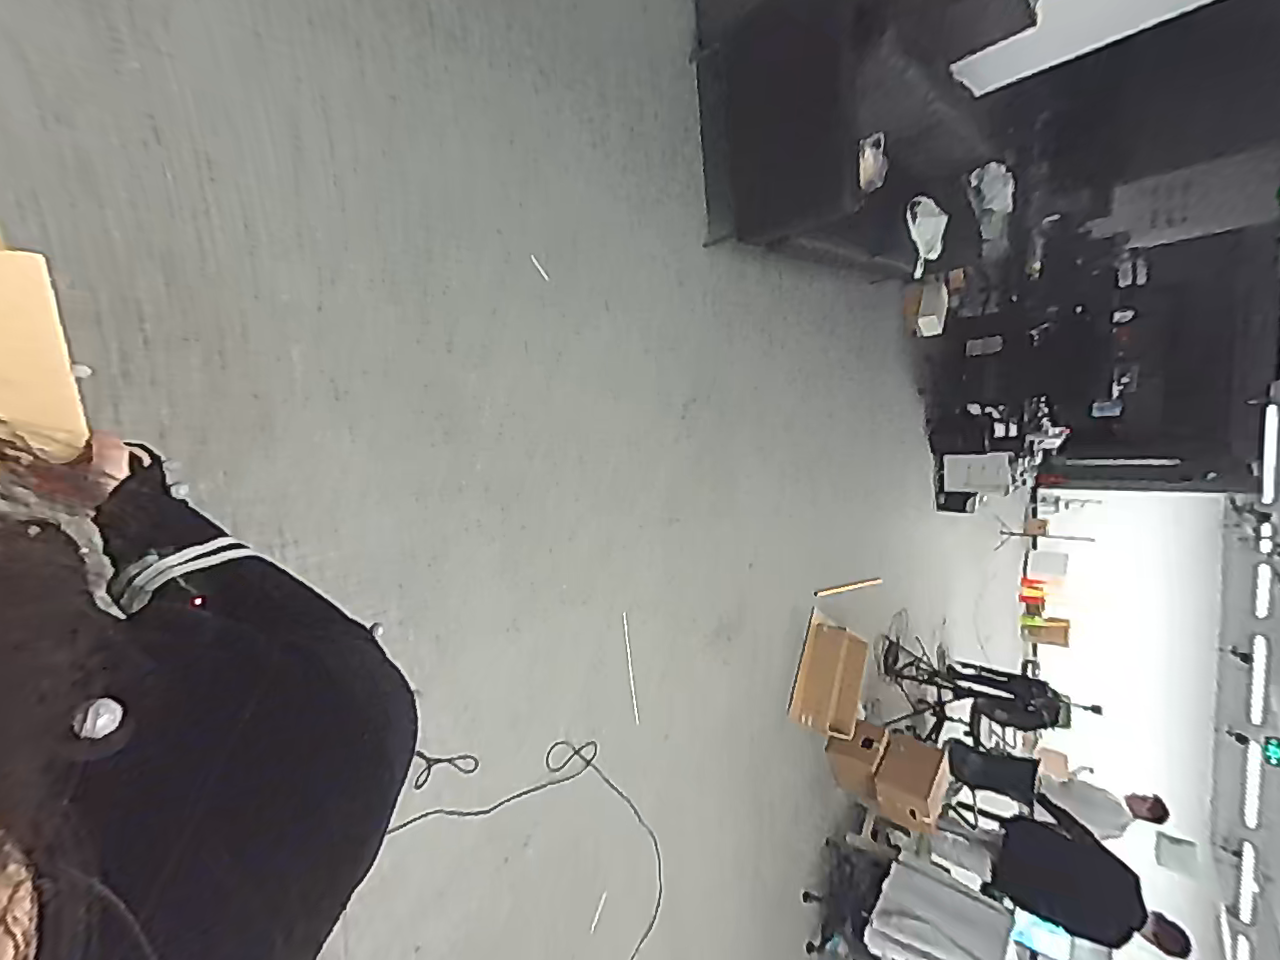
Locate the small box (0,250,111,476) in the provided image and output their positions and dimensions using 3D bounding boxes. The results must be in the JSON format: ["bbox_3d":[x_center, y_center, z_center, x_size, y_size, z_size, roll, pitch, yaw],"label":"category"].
[{"bbox_3d":[-0.587,-0.089,0.444,0.168,0.176,0.179,-20,110,-53],"label":"small box"}]
